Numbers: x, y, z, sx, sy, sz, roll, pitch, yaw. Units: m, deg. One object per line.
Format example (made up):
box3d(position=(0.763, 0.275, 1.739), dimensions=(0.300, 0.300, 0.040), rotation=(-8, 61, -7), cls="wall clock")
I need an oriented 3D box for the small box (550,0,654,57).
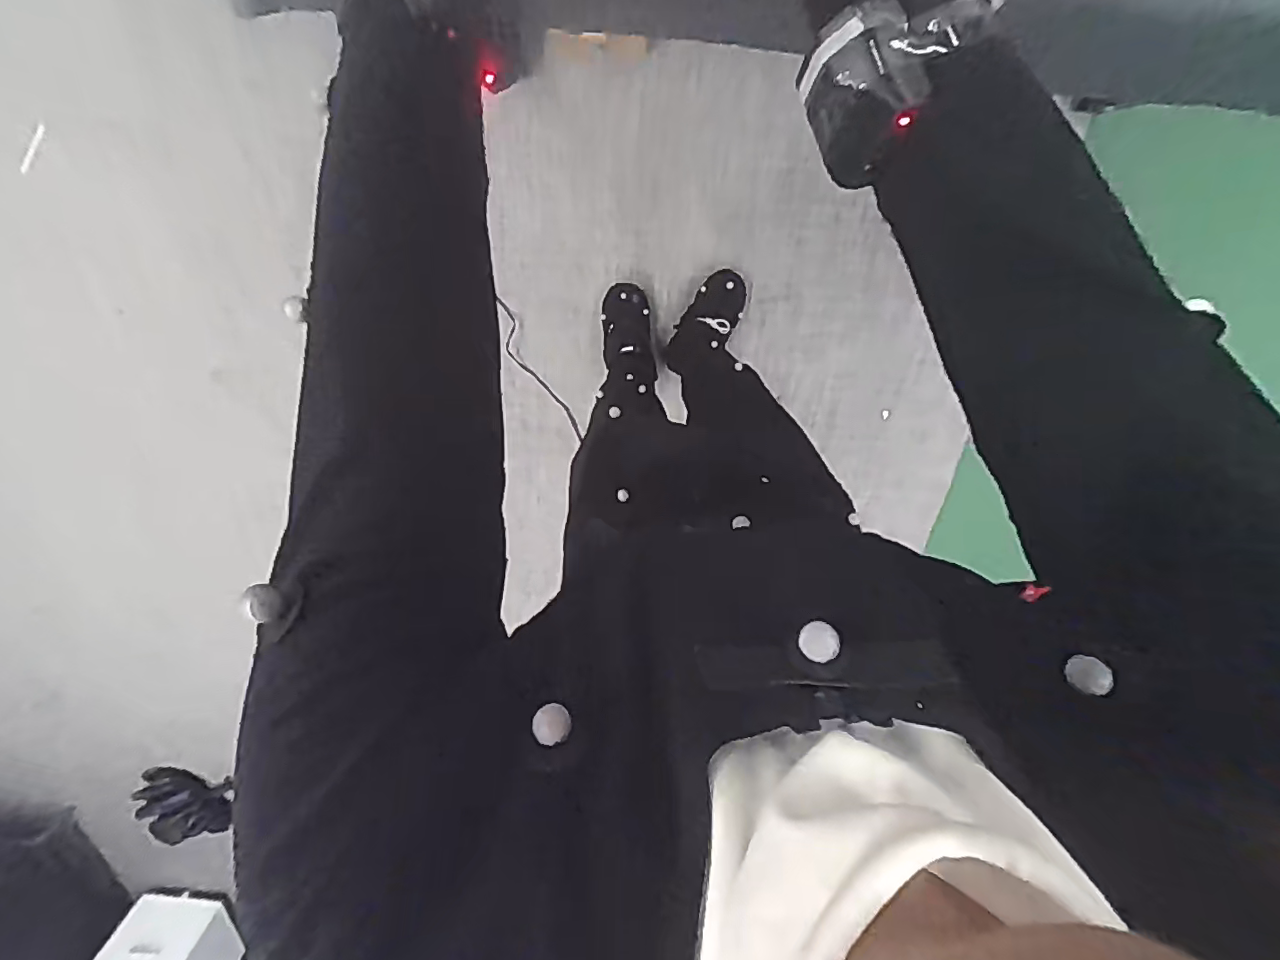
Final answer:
box3d(position=(-0.061, -0.867, 0.948), dimensions=(0.168, 0.176, 0.179), rotation=(5, 119, 1), cls="small box")
